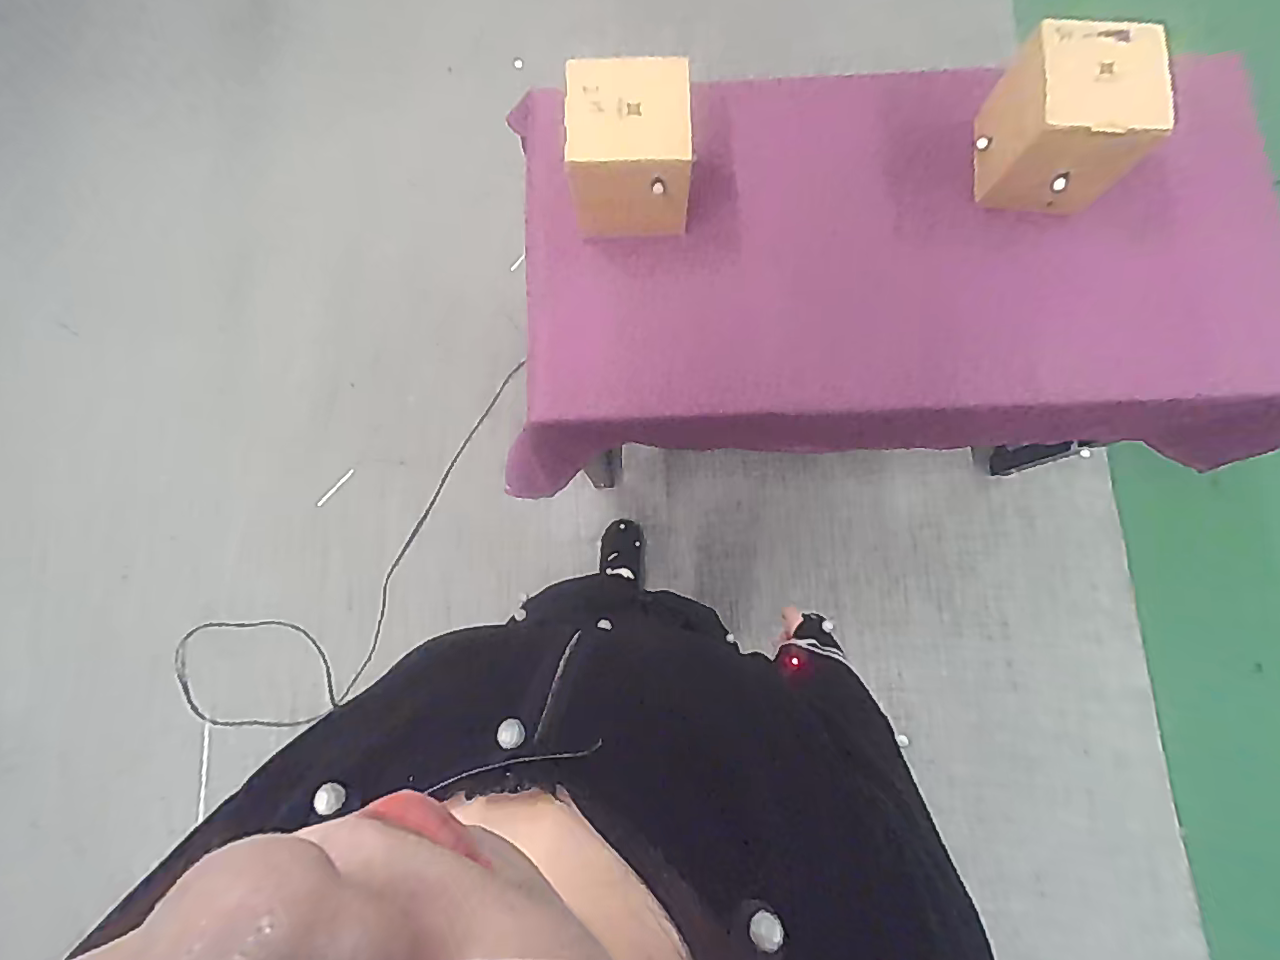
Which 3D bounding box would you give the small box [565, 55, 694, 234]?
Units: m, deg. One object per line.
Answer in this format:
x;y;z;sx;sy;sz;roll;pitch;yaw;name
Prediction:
-0.013;-0.496;0.820;0.179;0.176;0.168;0;80;2;small box

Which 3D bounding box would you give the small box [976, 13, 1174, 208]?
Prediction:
0.630;-0.536;0.804;0.168;0.176;0.179;6;81;2;small box
